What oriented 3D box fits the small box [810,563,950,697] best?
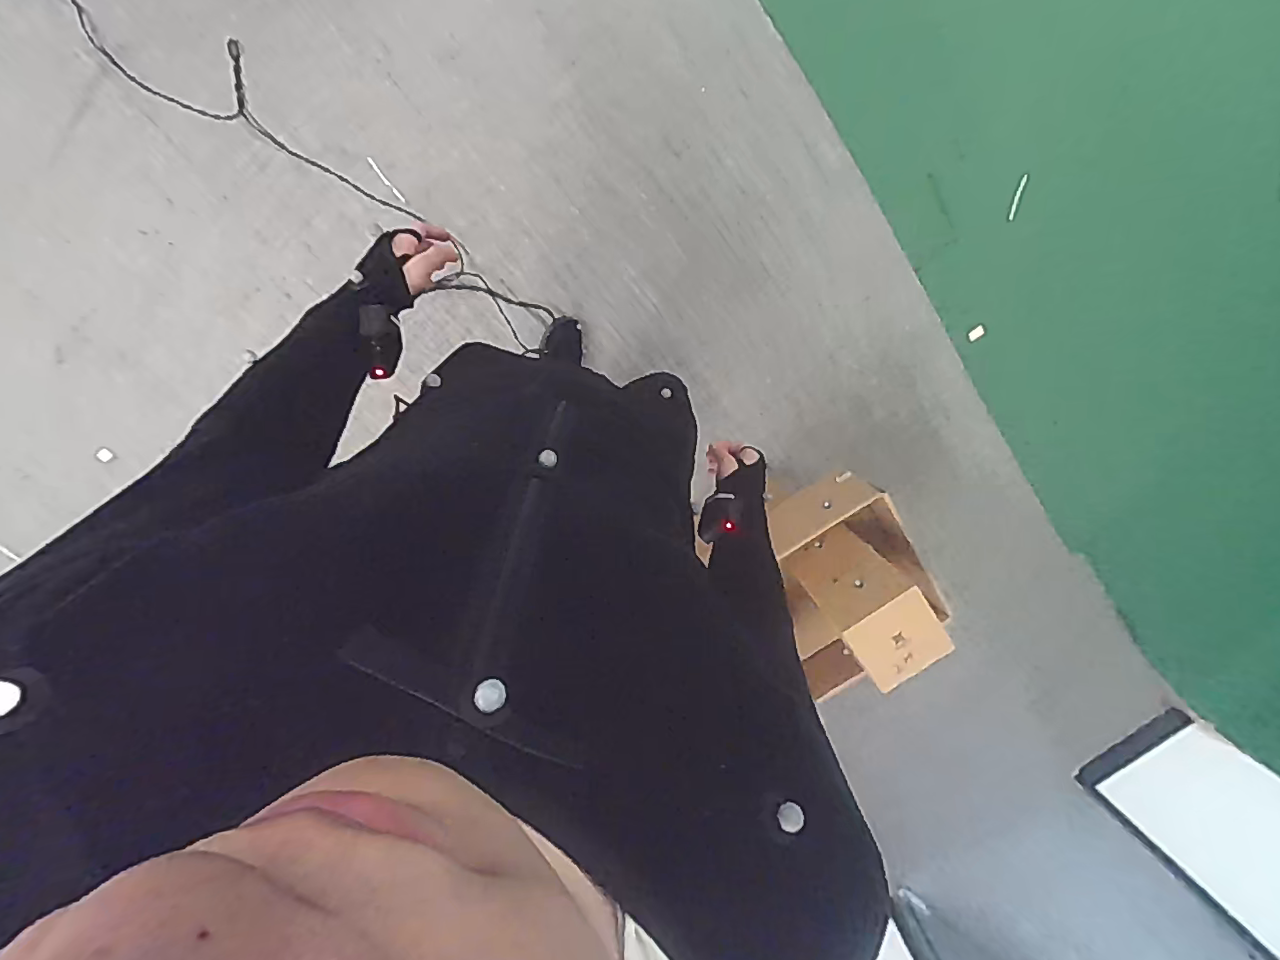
[{"bbox_3d":[0.476,0.291,1.100,0.168,0.176,0.179,-35,106,6],"label":"small box"}]
